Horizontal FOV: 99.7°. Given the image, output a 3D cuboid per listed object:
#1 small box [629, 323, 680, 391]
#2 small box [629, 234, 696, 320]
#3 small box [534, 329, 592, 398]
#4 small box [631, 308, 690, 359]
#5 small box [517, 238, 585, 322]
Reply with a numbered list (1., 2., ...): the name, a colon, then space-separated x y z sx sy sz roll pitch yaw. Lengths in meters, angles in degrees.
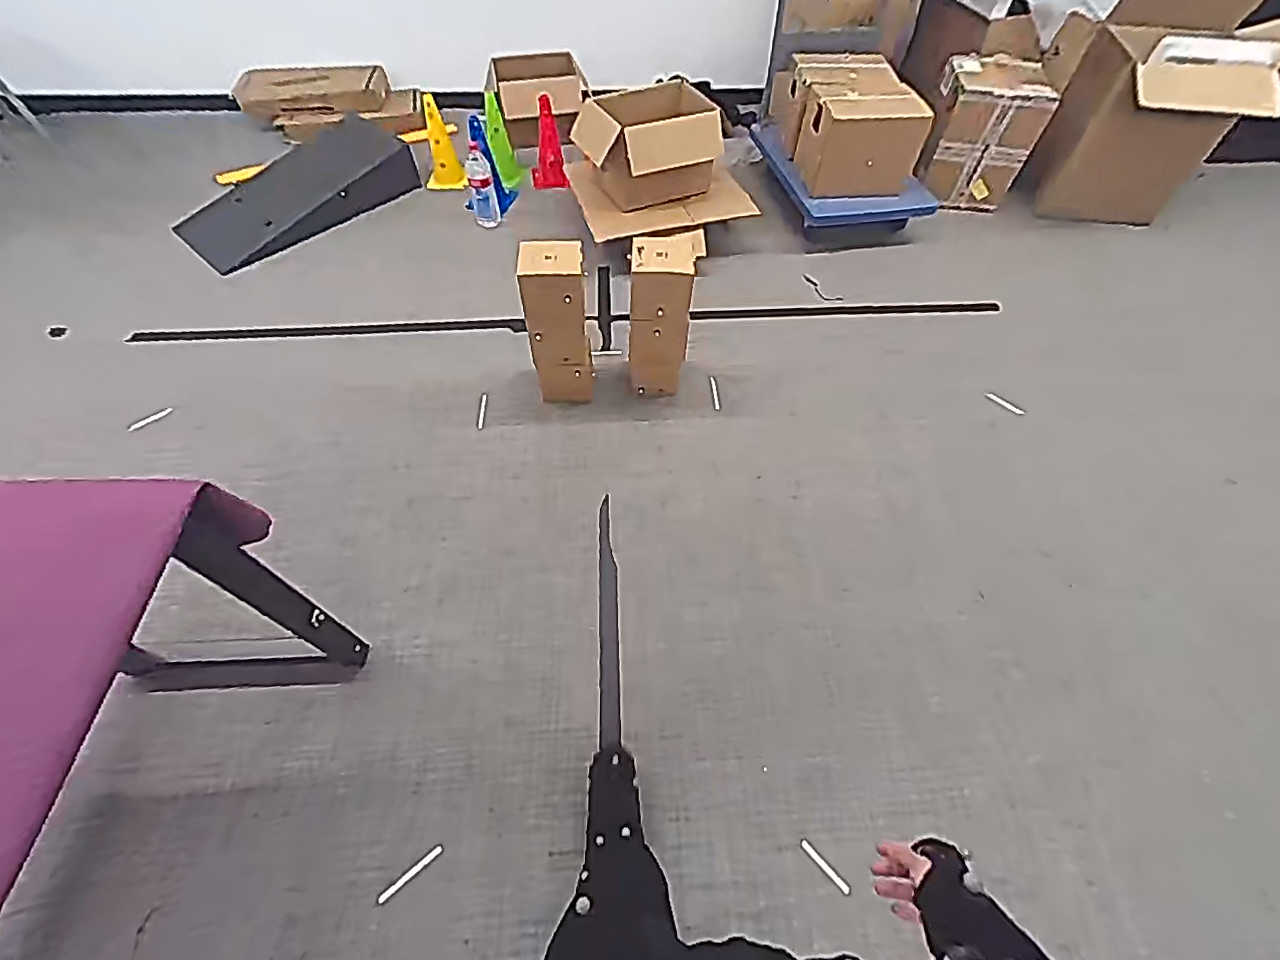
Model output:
1. small box: 0.048 -0.421 1.855 0.168 0.176 0.179 -2 56 -4
2. small box: 0.062 -0.587 1.571 0.179 0.176 0.168 3 56 -1
3. small box: -0.254 -0.391 1.828 0.179 0.176 0.168 -1 56 -3
4. small box: 0.058 -0.498 1.709 0.179 0.176 0.168 0 57 -3
5. small box: -0.250 -0.572 1.555 0.179 0.176 0.168 -3 54 -3
